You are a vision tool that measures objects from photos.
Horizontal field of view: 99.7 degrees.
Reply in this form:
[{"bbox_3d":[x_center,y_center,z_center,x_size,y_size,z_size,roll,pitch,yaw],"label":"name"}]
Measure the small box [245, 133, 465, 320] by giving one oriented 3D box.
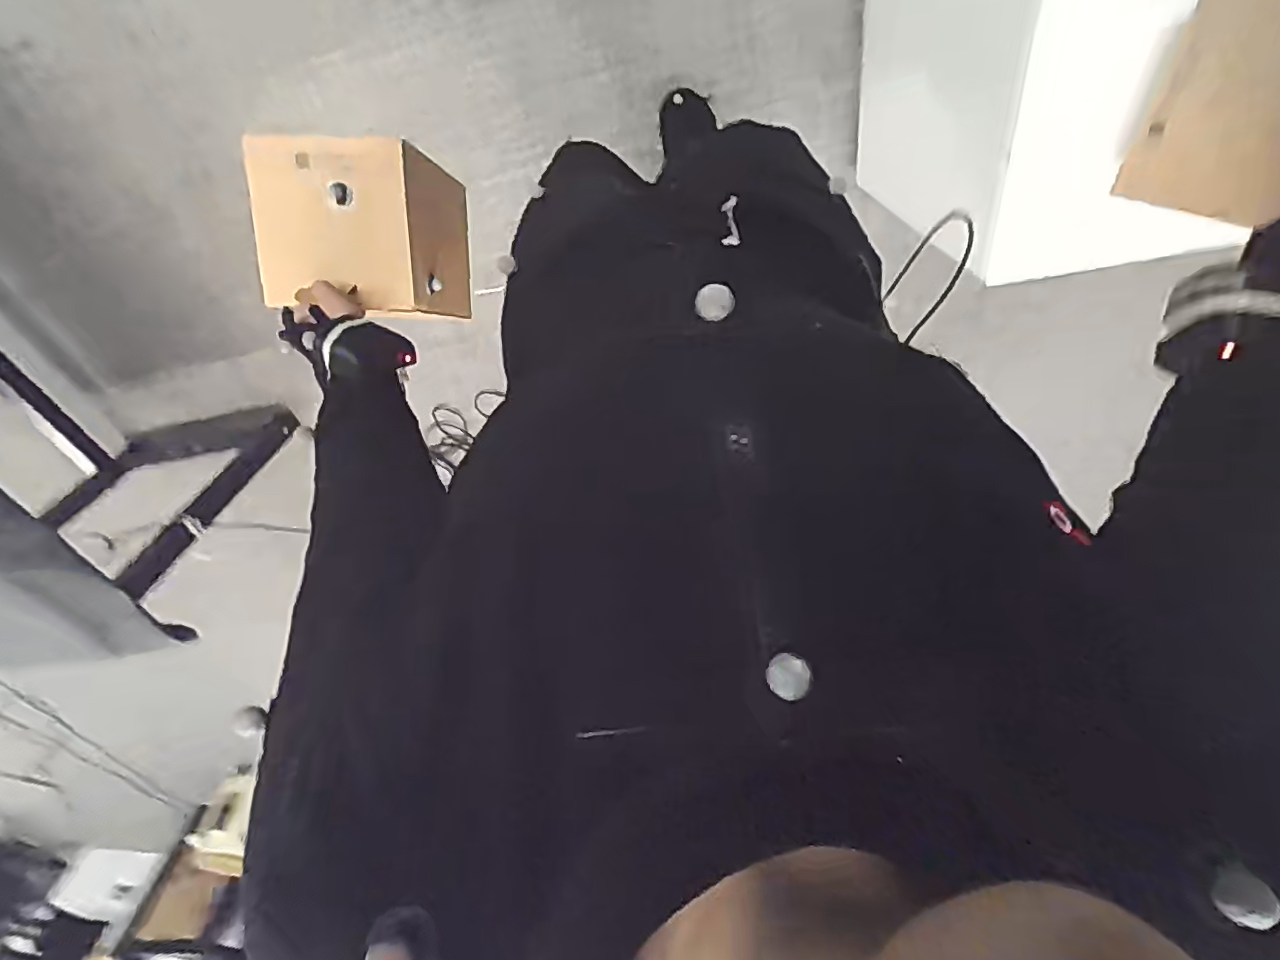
[{"bbox_3d":[-0.315,-0.281,0.634,0.168,0.179,0.176,2,105,2],"label":"small box"}]
